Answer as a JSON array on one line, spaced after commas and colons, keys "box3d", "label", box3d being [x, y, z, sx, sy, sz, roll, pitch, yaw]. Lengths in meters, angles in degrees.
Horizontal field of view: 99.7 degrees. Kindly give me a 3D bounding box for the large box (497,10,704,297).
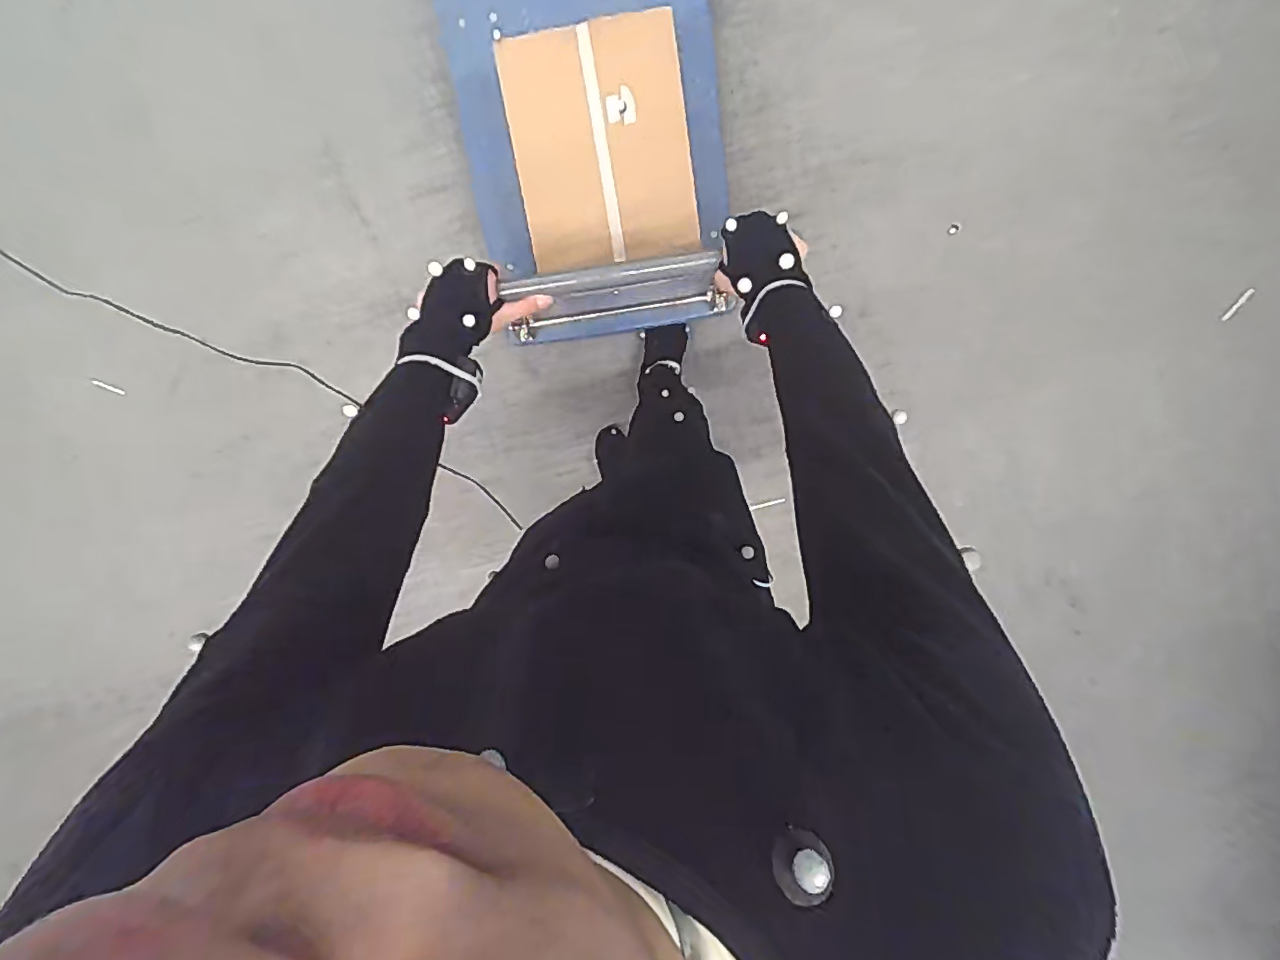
[{"box3d": [-0.062, -0.619, 1.113, 0.320, 0.320, 0.408, -9, 104, 2], "label": "large box"}]
